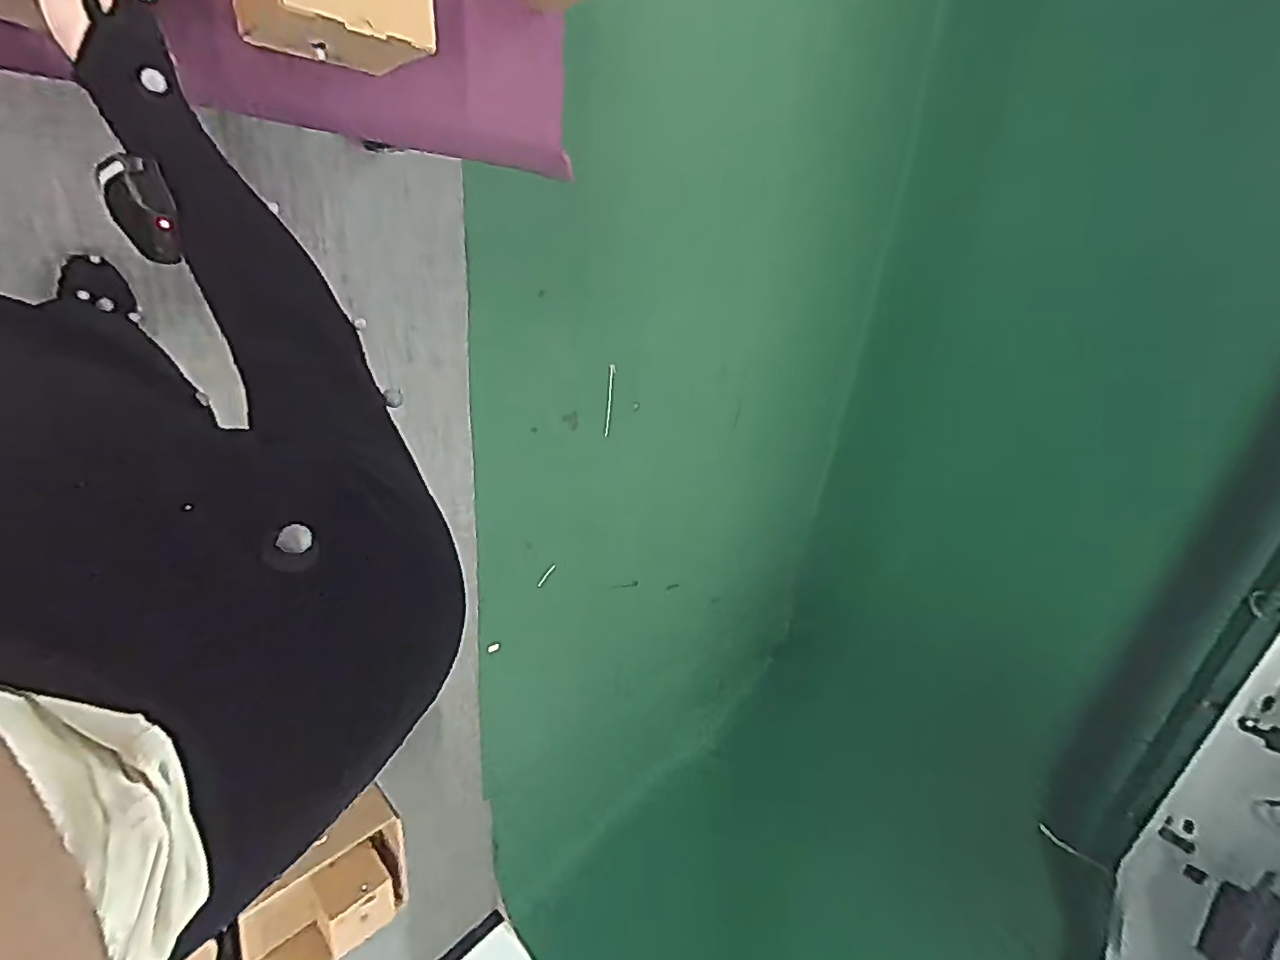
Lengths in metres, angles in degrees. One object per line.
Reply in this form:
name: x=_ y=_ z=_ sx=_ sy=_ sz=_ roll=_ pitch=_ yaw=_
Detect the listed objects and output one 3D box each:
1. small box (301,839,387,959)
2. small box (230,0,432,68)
small box: x=-0.839 y=1.181 z=1.536 sx=0.168 sy=0.176 sz=0.179 roll=-16 pitch=122 yaw=-45
small box: x=-0.360 y=-0.601 z=0.612 sx=0.168 sy=0.176 sz=0.179 roll=-20 pitch=124 yaw=-43
